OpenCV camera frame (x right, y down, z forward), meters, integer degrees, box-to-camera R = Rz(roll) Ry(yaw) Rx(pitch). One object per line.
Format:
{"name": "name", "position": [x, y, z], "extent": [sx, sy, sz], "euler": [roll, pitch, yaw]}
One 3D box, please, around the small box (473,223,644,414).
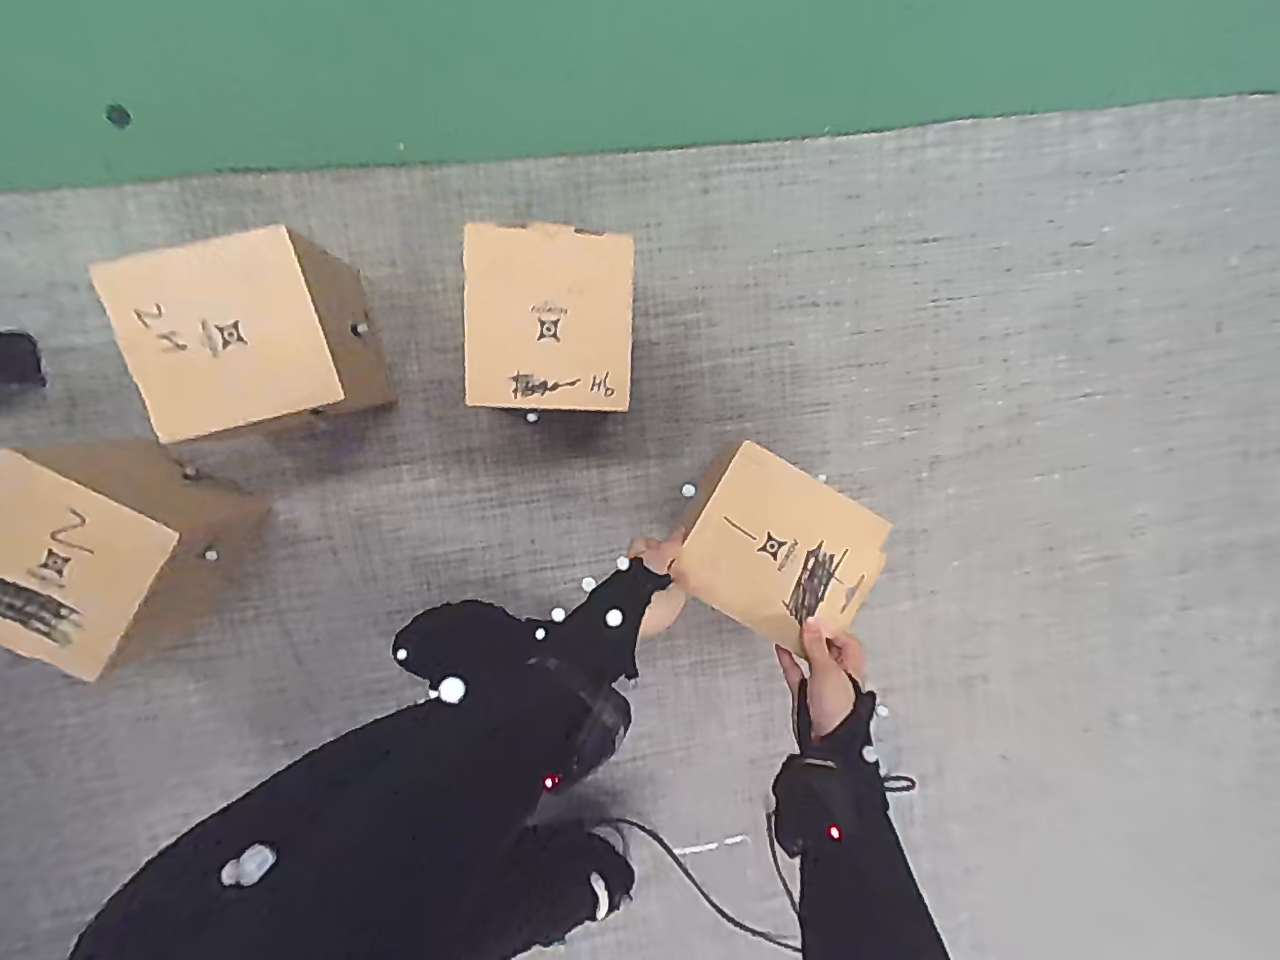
{"name": "small box", "position": [-0.093, -0.167, 0.615], "extent": [0.168, 0.176, 0.179], "euler": [1, 98, -8]}

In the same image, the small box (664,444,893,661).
{"name": "small box", "position": [0.141, 0.069, 0.624], "extent": [0.179, 0.176, 0.168], "euler": [31, 92, -1]}

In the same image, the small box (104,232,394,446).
{"name": "small box", "position": [-0.386, -0.142, 0.581], "extent": [0.179, 0.176, 0.168], "euler": [-15, 99, -5]}
